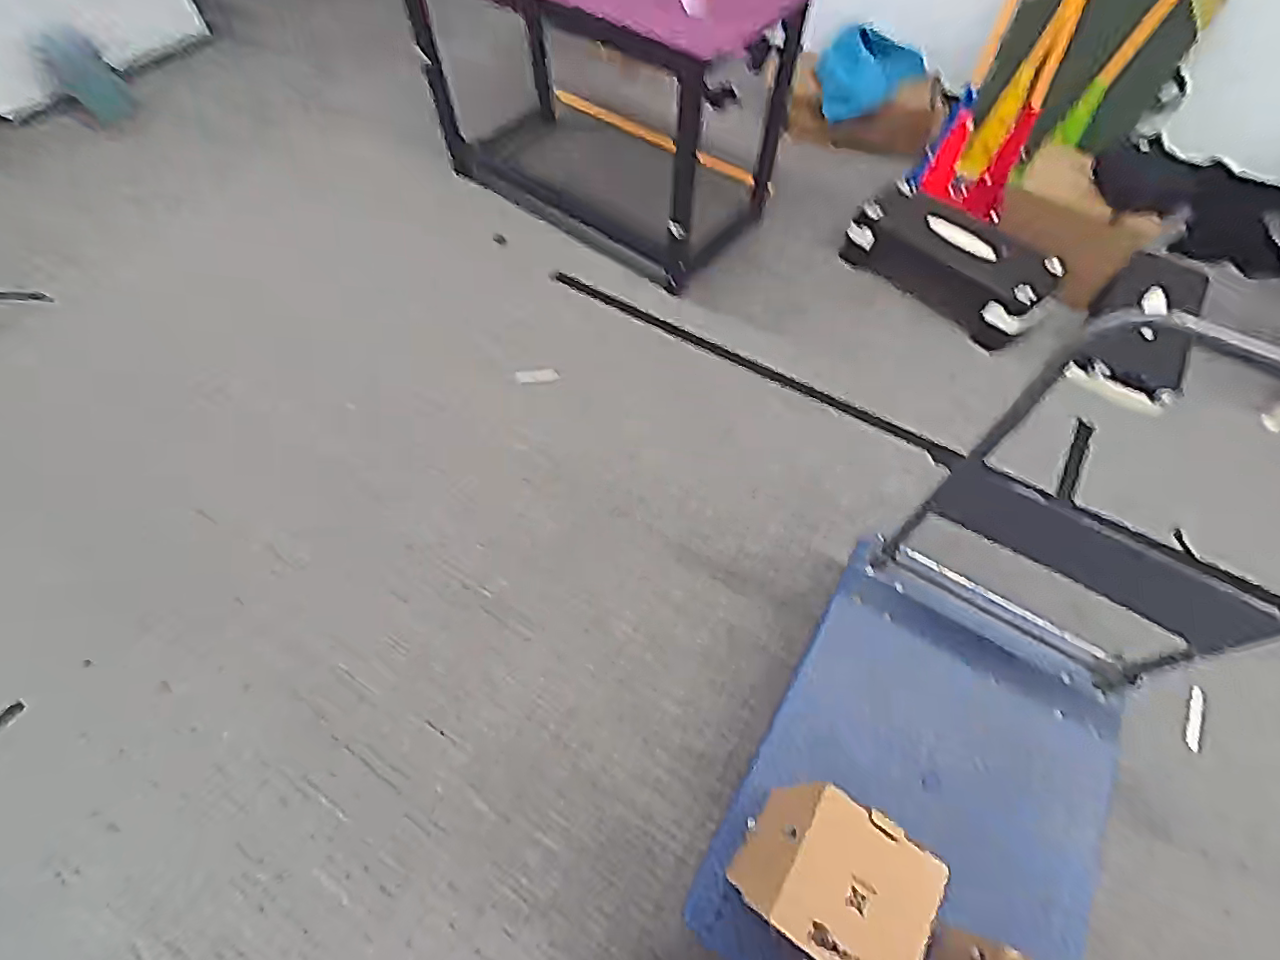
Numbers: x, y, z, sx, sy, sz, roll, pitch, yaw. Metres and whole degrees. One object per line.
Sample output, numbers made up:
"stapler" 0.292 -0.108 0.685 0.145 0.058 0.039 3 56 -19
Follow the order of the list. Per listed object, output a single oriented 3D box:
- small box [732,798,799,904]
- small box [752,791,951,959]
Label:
"small box" 0.268 0.636 0.860 0.179 0.176 0.168 33 64 18
"small box" 0.268 0.549 0.720 0.168 0.176 0.179 31 63 17
